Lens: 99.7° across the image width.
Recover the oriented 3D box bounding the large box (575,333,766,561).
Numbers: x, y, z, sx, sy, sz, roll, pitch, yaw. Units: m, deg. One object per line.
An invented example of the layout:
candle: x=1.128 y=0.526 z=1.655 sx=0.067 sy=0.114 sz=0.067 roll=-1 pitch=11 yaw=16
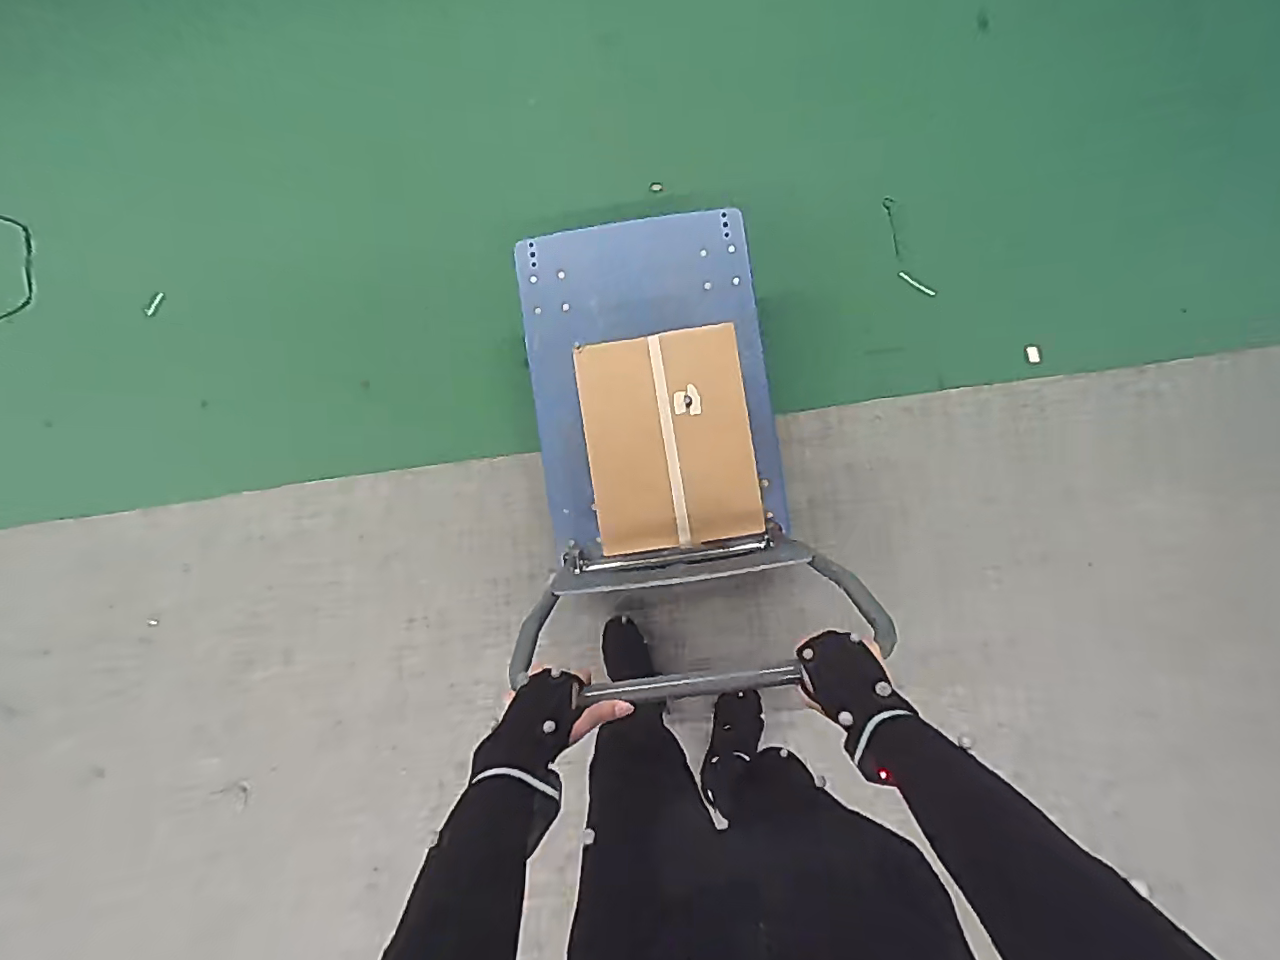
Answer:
large box: x=0.064 y=-0.058 z=1.178 sx=0.320 sy=0.320 sz=0.408 roll=-9 pitch=88 yaw=1
